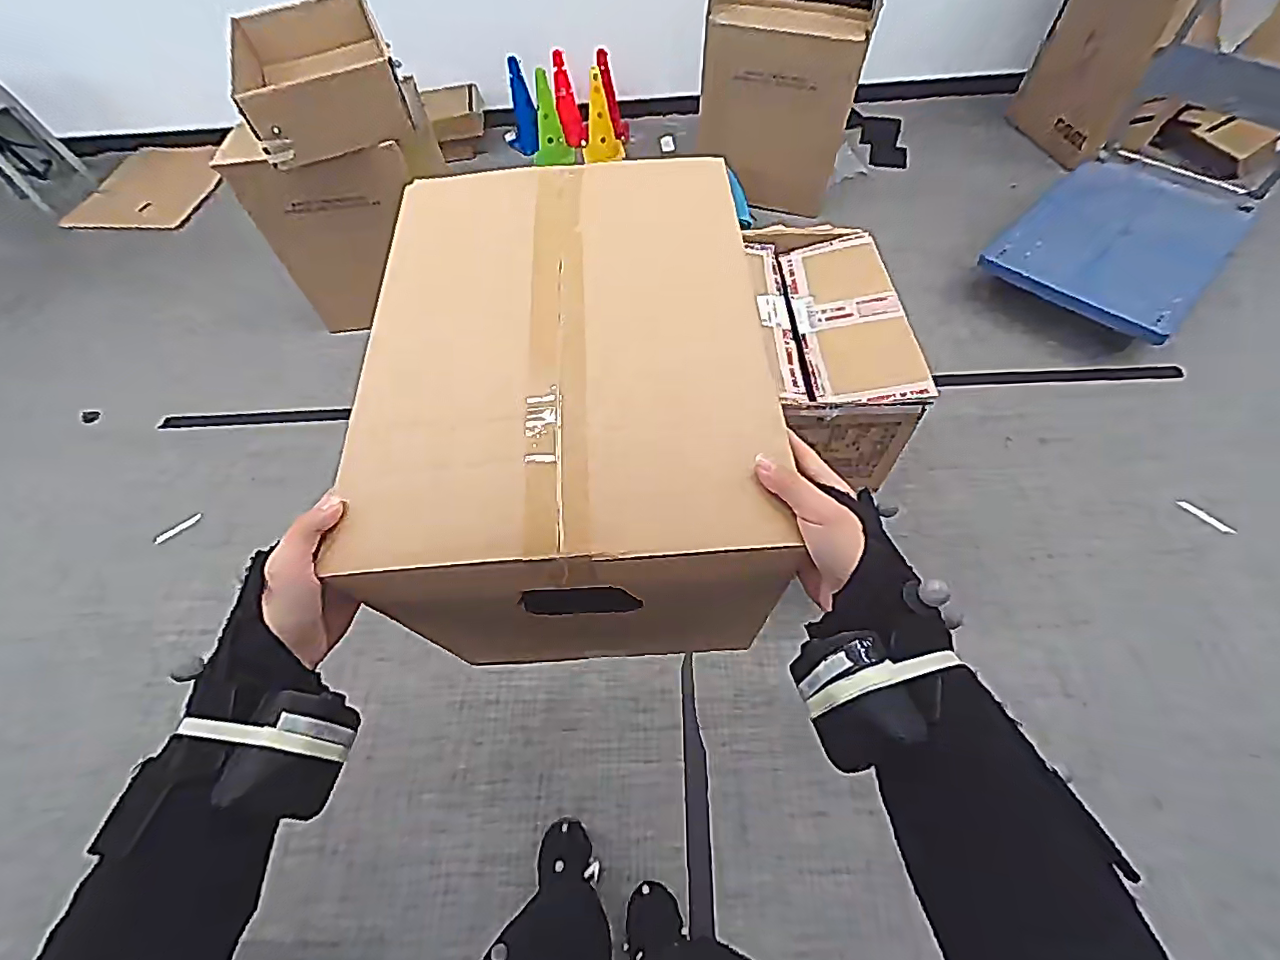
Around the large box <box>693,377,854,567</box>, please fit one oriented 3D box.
[{"bbox_3d":[0.318,-0.017,1.425,0.320,0.320,0.408,-3,58,2],"label":"large box"}]
